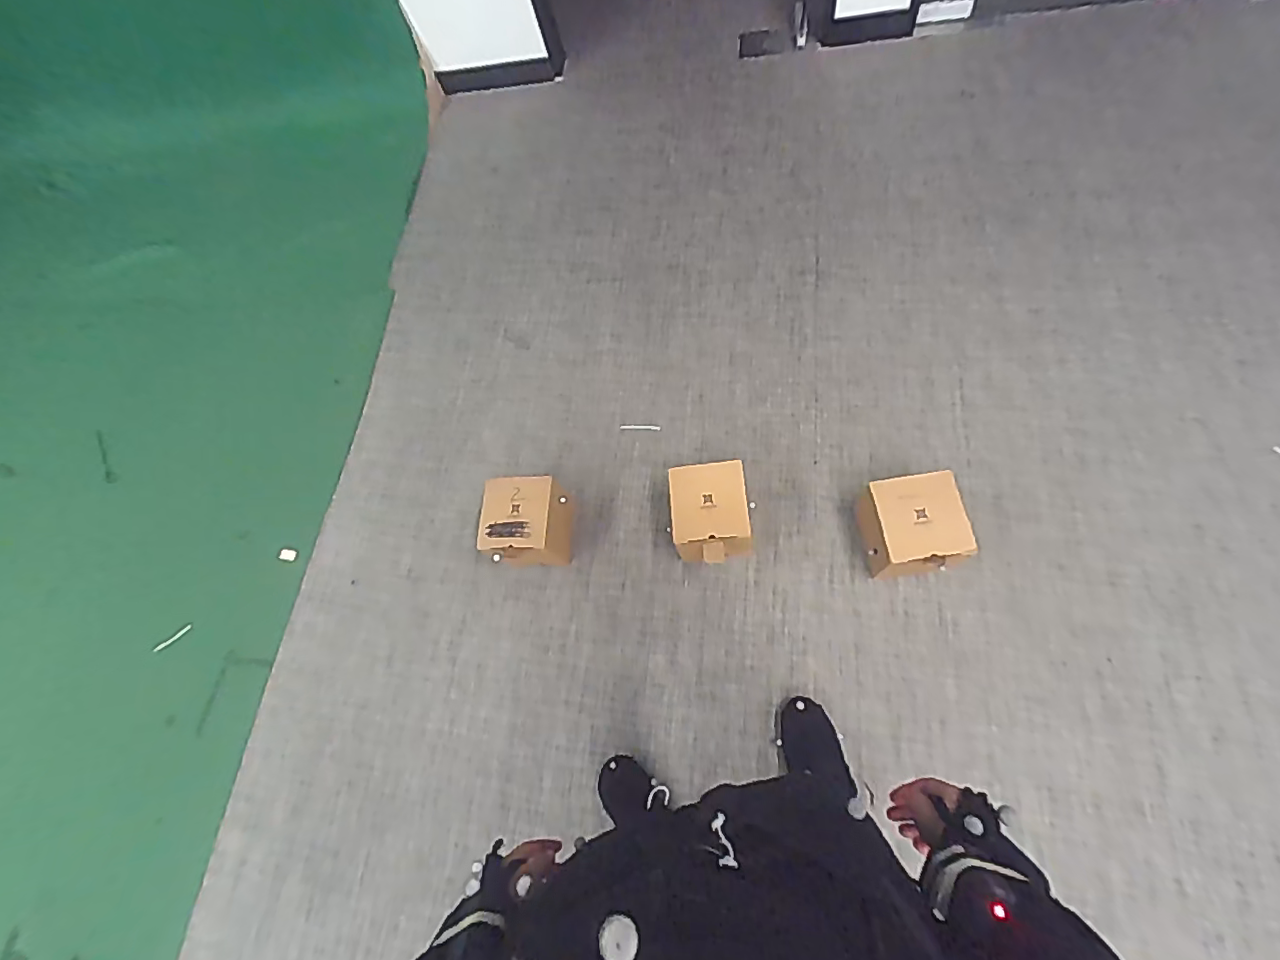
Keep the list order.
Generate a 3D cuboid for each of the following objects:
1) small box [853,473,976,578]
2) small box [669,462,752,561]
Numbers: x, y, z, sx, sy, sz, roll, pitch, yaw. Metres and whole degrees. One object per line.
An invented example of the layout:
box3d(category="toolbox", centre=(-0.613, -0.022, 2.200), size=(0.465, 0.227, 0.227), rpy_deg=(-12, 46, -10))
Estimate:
box3d(category="small box", centre=(0.571, 0.105, 1.150), size=(0.168, 0.176, 0.179), rpy_deg=(-9, 67, 6))
box3d(category="small box", centre=(0.161, 0.077, 1.238), size=(0.168, 0.176, 0.179), rpy_deg=(-7, 69, 8))
